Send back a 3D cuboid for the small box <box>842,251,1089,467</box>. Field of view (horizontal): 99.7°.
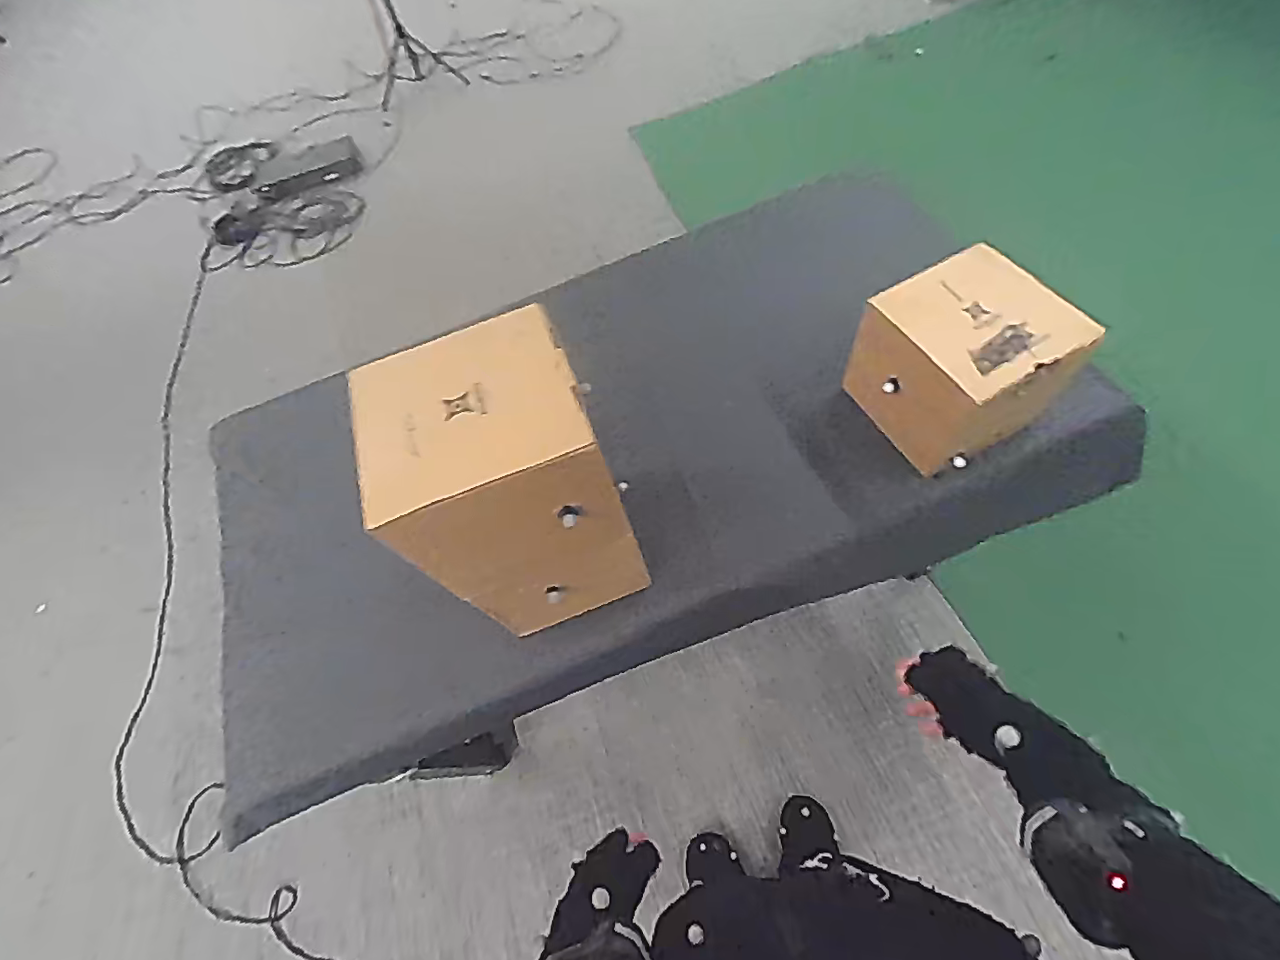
[{"bbox_3d":[0.381,-0.138,0.675,0.168,0.176,0.179,-27,61,-5],"label":"small box"}]

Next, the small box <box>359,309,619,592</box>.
[{"bbox_3d":[-0.128,-0.019,0.506,0.179,0.176,0.168,-22,59,-3],"label":"small box"}]

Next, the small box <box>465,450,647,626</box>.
[{"bbox_3d":[-0.106,0.056,0.648,0.179,0.176,0.168,-21,60,-3],"label":"small box"}]
